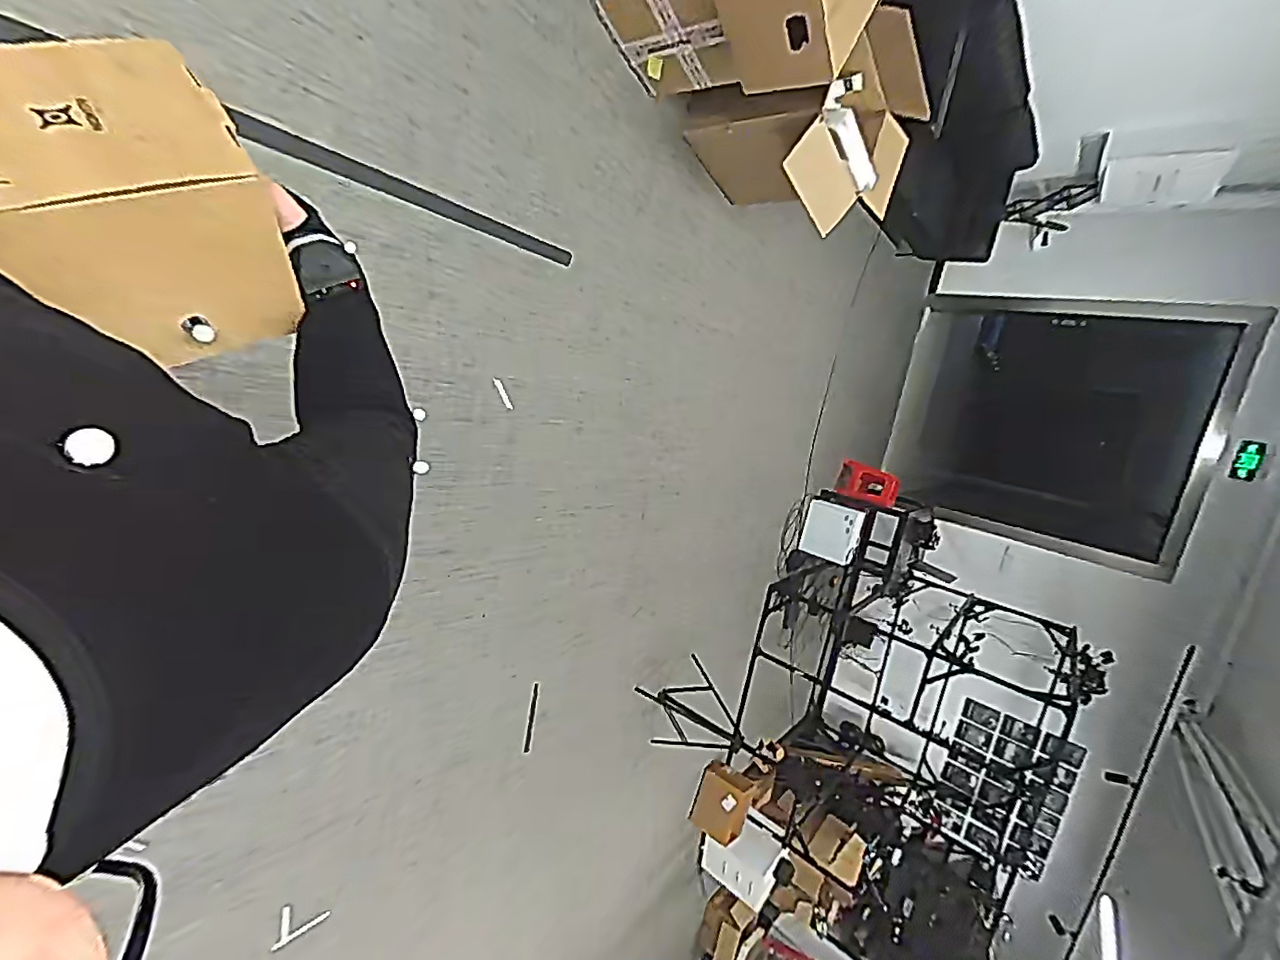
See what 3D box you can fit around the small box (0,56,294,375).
[{"bbox_3d":[-0.429,-0.222,0.465,0.179,0.168,0.176,-30,165,-30],"label":"small box"}]
